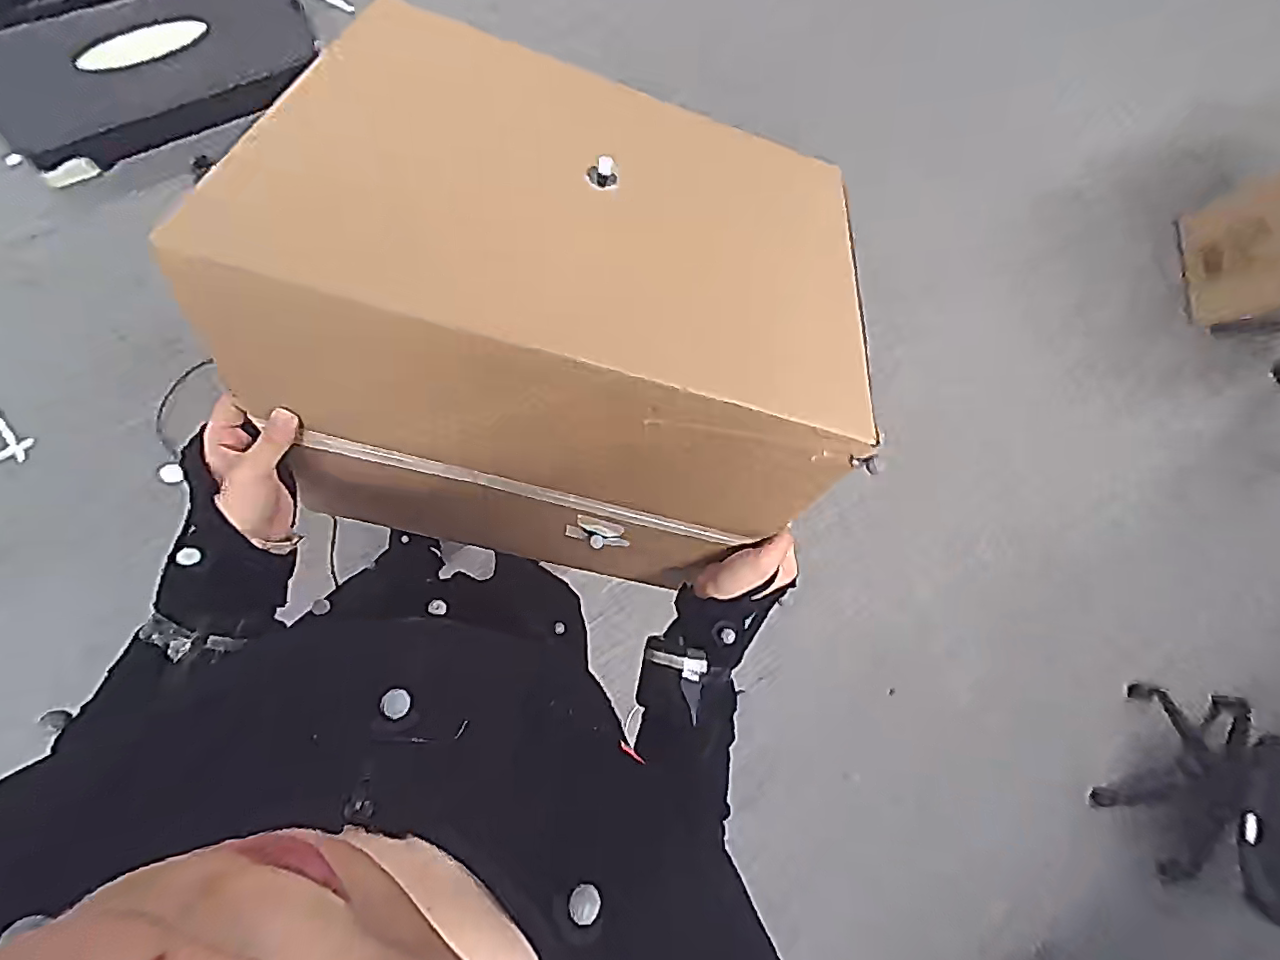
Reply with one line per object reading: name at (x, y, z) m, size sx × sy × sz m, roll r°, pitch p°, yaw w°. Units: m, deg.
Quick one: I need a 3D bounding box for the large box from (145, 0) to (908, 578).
large box at (-0.062, -0.137, 0.479) m, size 0.408 × 0.320 × 0.320 m, roll 12°, pitch 60°, yaw -10°
